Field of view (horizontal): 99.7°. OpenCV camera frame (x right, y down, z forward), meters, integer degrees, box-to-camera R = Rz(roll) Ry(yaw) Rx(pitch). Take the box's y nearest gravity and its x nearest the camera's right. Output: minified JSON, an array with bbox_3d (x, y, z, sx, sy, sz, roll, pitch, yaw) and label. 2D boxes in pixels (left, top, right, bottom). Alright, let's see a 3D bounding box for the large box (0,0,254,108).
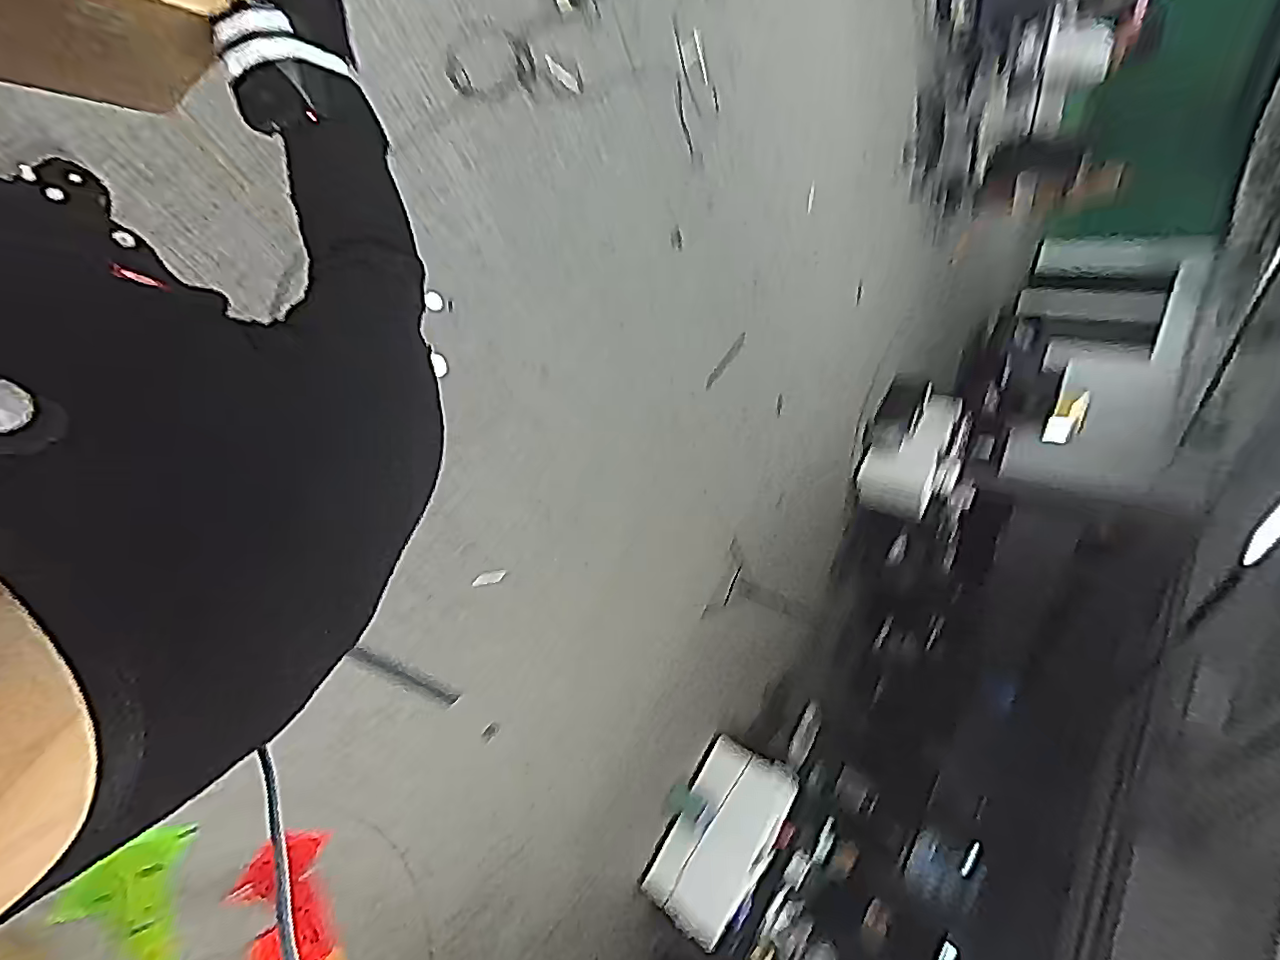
[{"bbox_3d":[-0.509,-0.455,0.286,0.408,0.320,0.320,-17,116,-46],"label":"large box"}]
